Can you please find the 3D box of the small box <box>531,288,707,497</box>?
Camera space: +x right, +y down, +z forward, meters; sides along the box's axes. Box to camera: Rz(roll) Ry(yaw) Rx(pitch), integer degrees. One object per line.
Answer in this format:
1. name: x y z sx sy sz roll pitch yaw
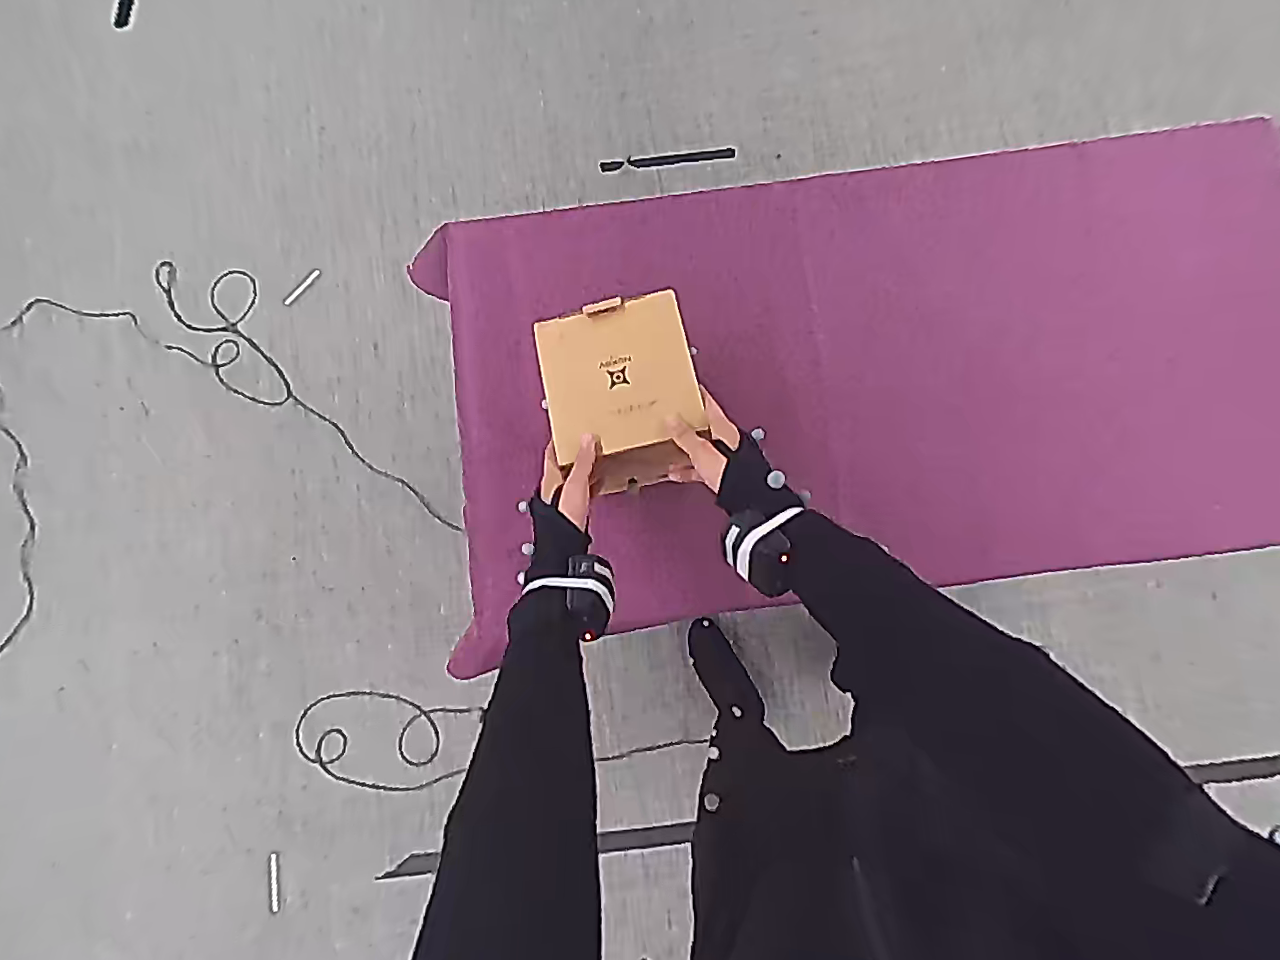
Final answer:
1. small box: -0.019 -0.094 0.651 0.168 0.176 0.179 -13 74 3
